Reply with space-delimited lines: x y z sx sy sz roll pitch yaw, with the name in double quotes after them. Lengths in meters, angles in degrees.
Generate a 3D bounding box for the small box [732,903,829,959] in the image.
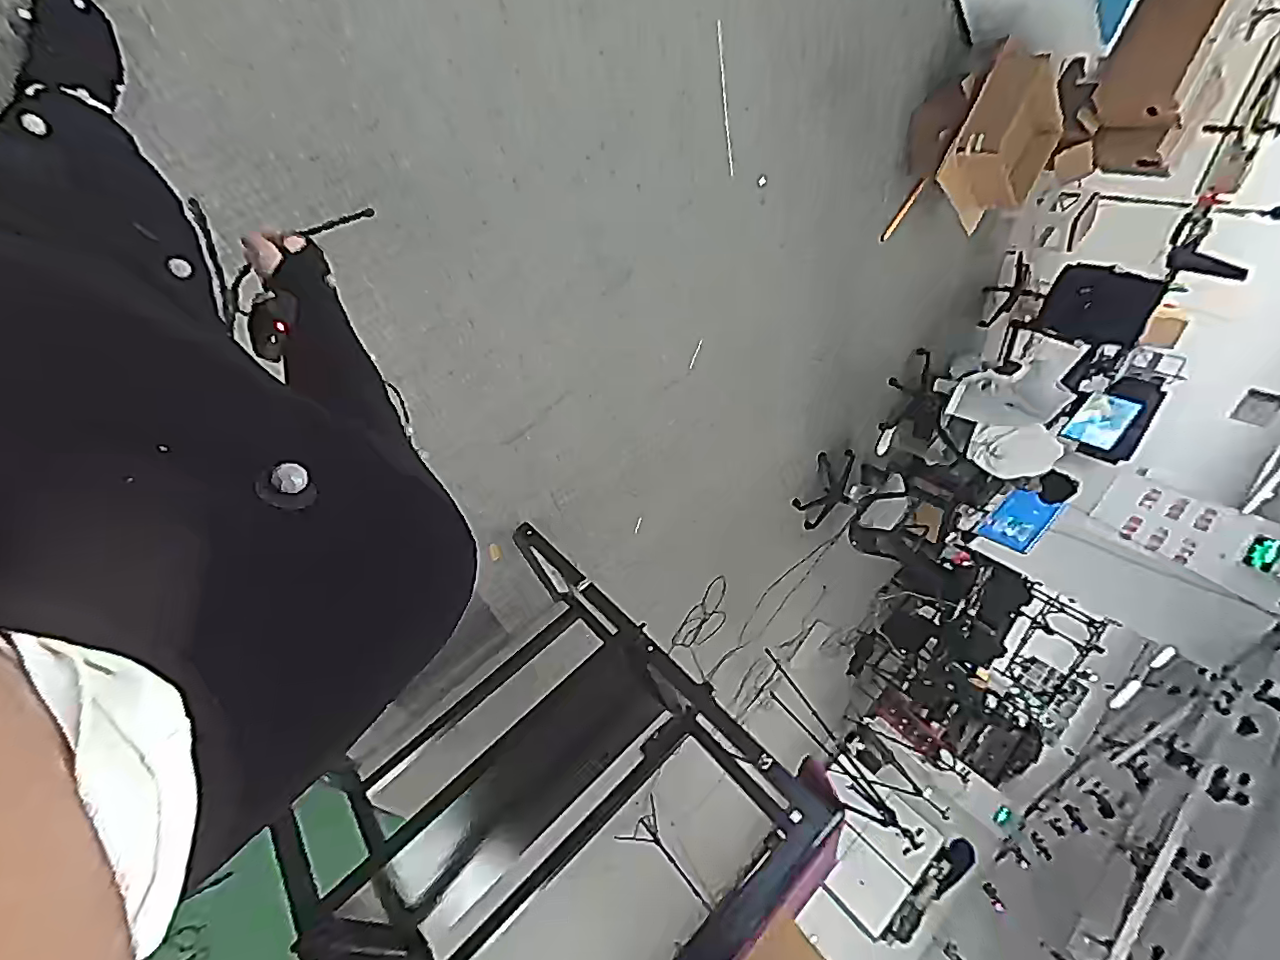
0.315 1.094 1.201 0.179 0.176 0.168 -35 137 -23 "small box"
